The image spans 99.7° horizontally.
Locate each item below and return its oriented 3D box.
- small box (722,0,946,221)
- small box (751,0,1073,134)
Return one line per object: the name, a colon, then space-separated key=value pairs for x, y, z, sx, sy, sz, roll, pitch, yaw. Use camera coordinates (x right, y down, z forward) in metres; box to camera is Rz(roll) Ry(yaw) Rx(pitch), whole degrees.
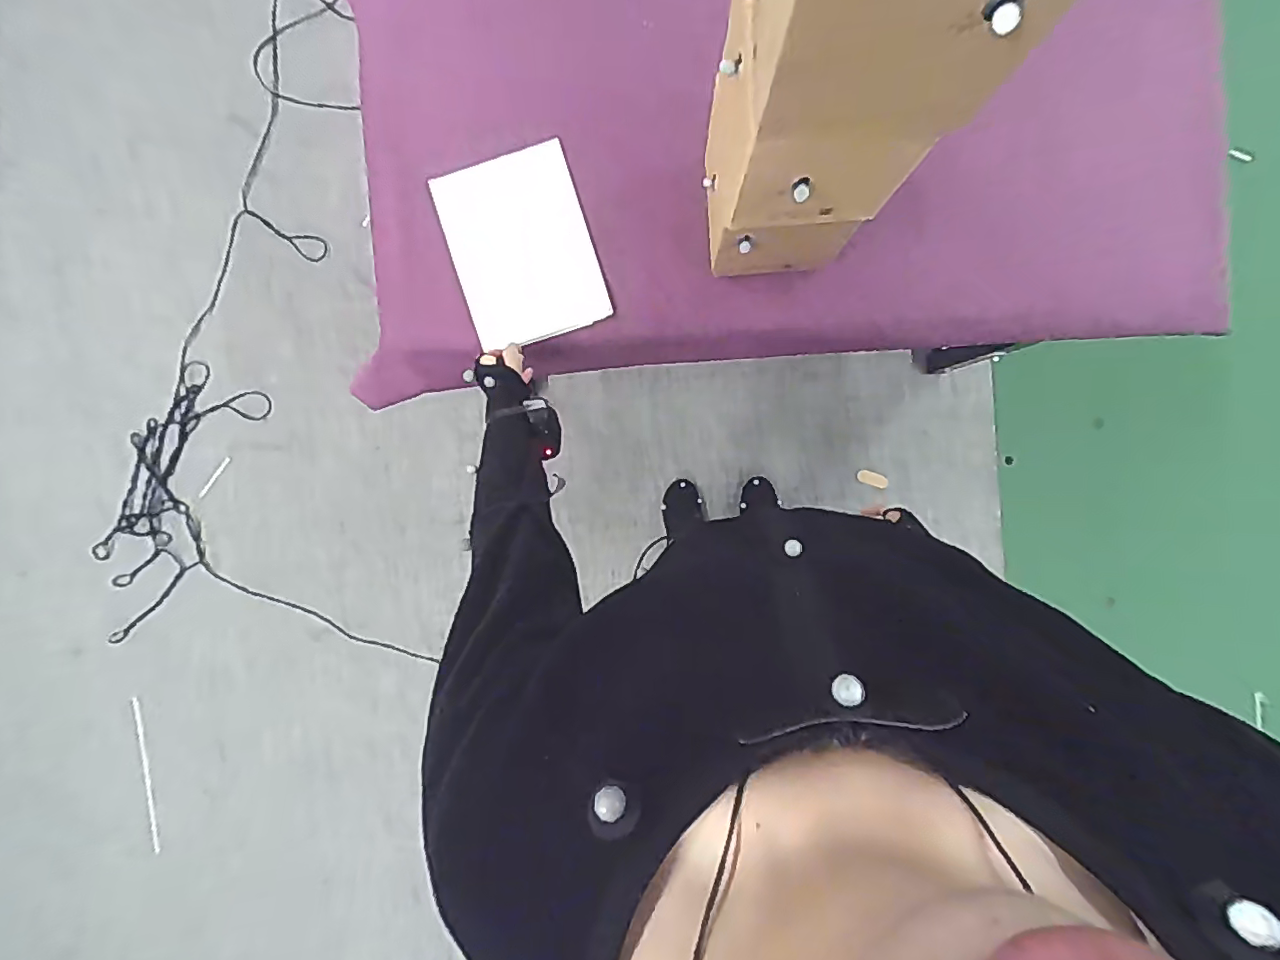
small box: x=0.174 y=-0.374 z=0.531 sx=0.168 sy=0.176 sz=0.179 roll=-3 pitch=90 yaw=2
small box: x=0.177 y=-0.366 z=0.365 sx=0.179 sy=0.176 sz=0.168 roll=-1 pitch=90 yaw=2
